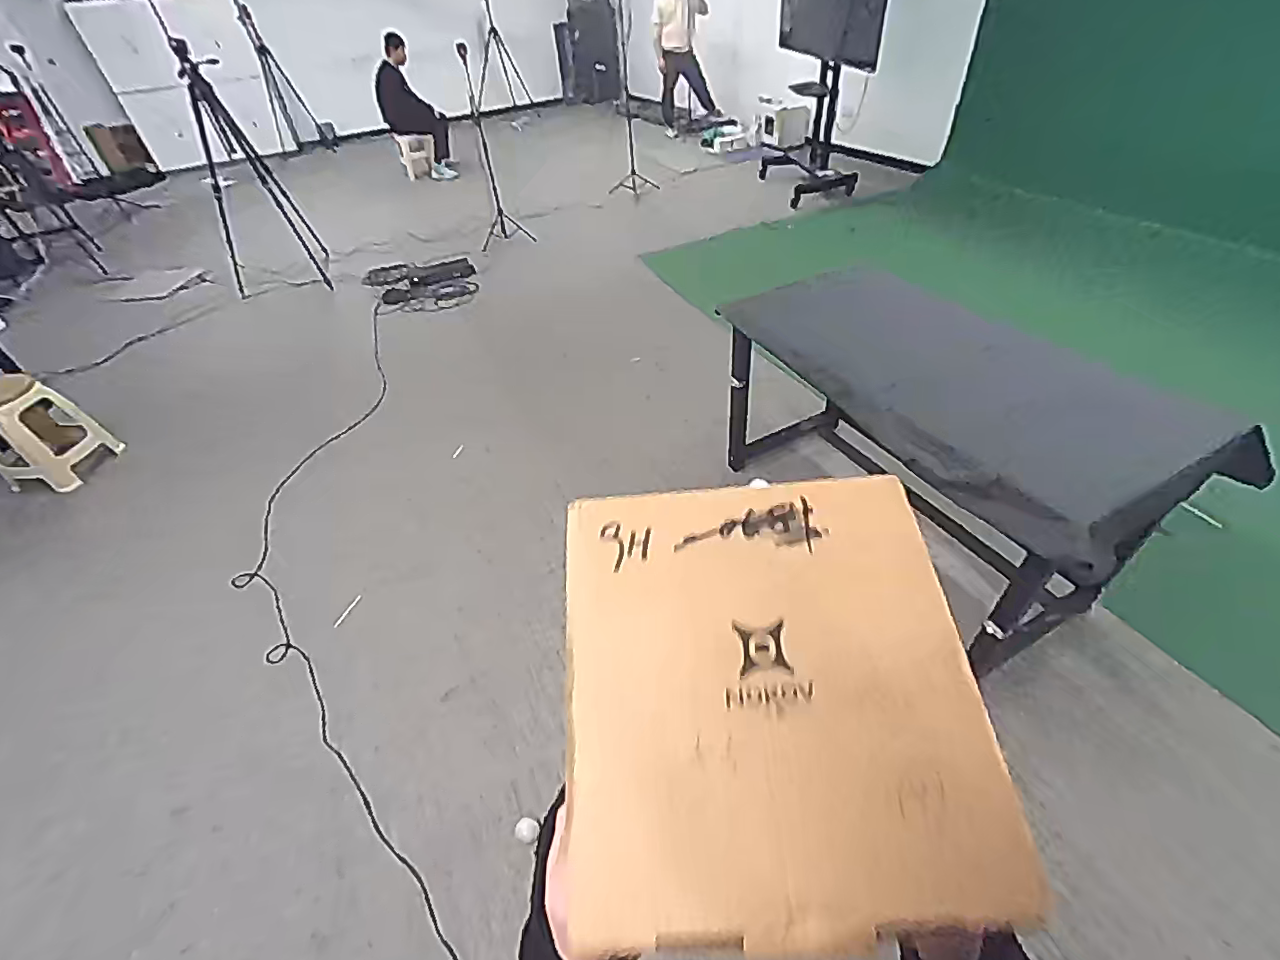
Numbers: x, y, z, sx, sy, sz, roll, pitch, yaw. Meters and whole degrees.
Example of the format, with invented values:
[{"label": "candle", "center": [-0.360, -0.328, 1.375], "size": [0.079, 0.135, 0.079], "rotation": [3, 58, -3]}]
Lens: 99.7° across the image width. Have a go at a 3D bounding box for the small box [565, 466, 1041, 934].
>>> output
[{"label": "small box", "center": [0.053, 0.112, 0.293], "size": [0.168, 0.176, 0.179], "rotation": [-3, 59, -1]}]
